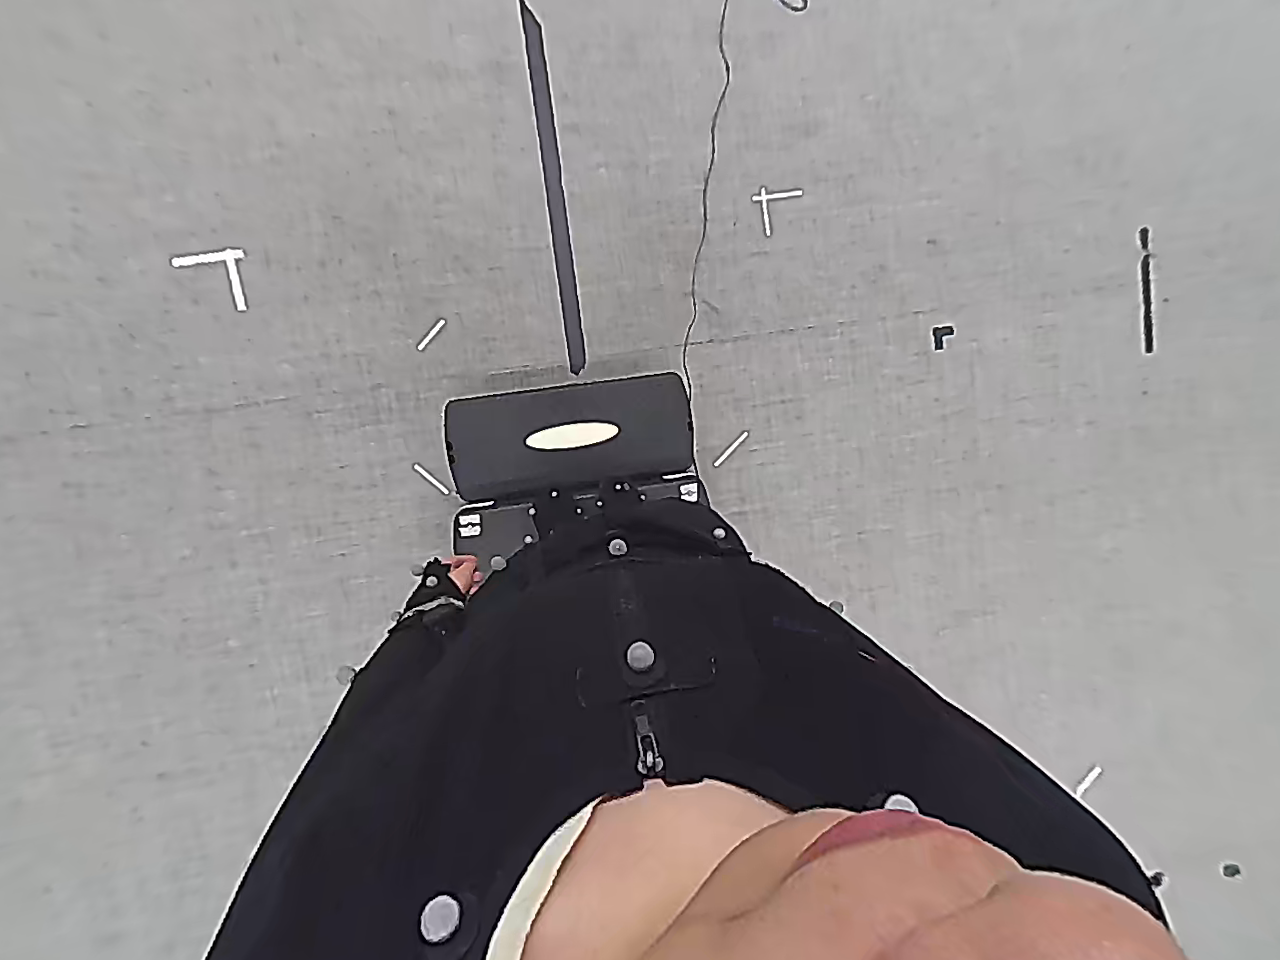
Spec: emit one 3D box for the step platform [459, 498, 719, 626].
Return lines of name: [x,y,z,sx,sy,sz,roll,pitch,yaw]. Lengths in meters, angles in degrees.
step platform: [-0.132,0.214,1.466,0.684,0.204,0.286,-4,91,-5]
